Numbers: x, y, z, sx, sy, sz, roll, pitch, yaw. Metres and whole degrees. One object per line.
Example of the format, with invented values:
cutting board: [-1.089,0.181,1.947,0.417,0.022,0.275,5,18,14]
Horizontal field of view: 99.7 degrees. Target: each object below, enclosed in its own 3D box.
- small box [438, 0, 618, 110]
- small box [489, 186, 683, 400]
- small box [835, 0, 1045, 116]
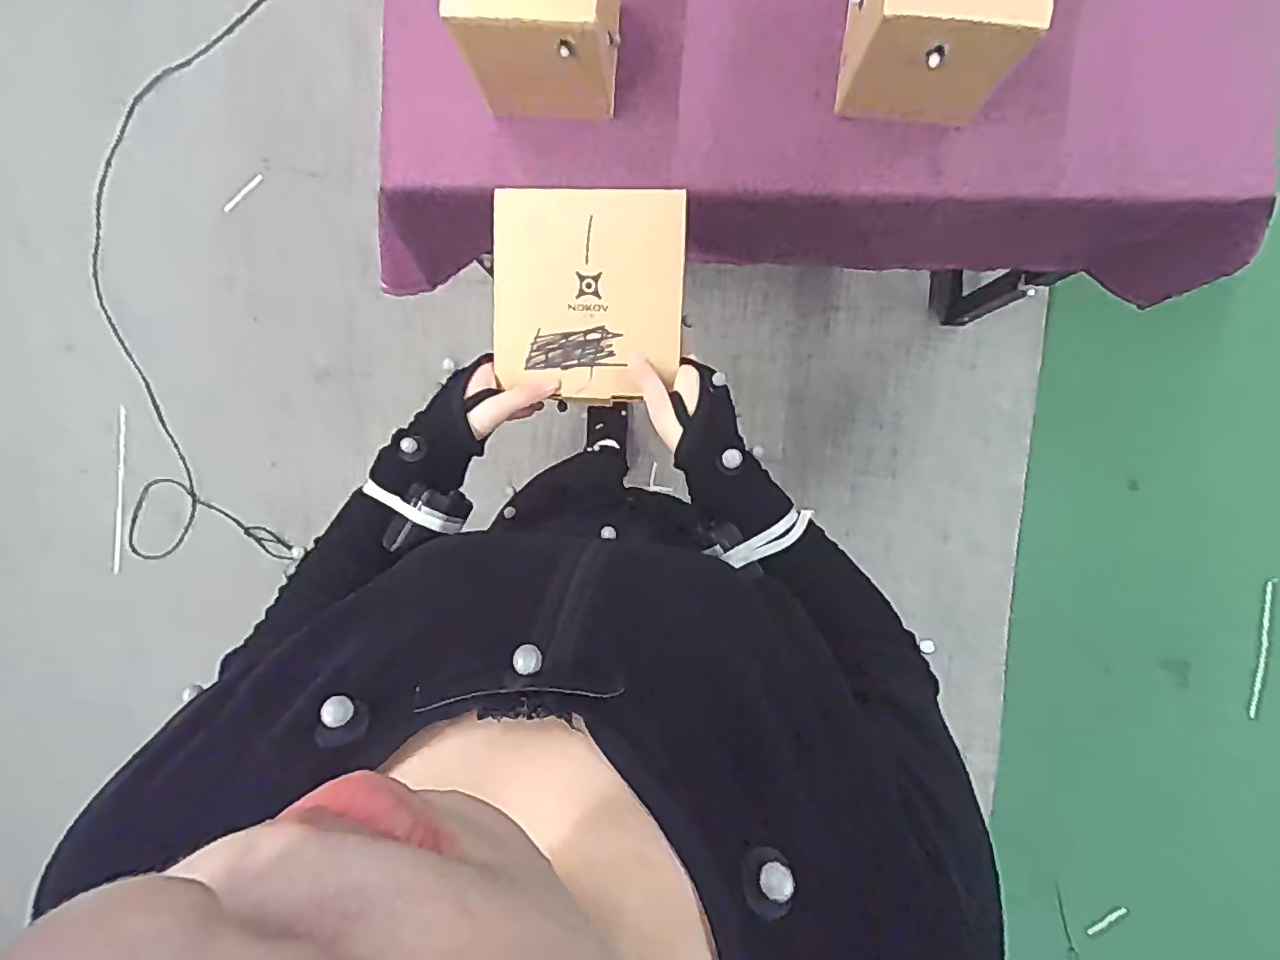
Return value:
small box: [-0.127,-0.596,0.671,0.179,0.176,0.168,4,92,2]
small box: [-0.044,-0.173,0.550,0.168,0.176,0.179,3,97,4]
small box: [0.349,-0.571,0.644,0.179,0.176,0.168,9,92,3]
